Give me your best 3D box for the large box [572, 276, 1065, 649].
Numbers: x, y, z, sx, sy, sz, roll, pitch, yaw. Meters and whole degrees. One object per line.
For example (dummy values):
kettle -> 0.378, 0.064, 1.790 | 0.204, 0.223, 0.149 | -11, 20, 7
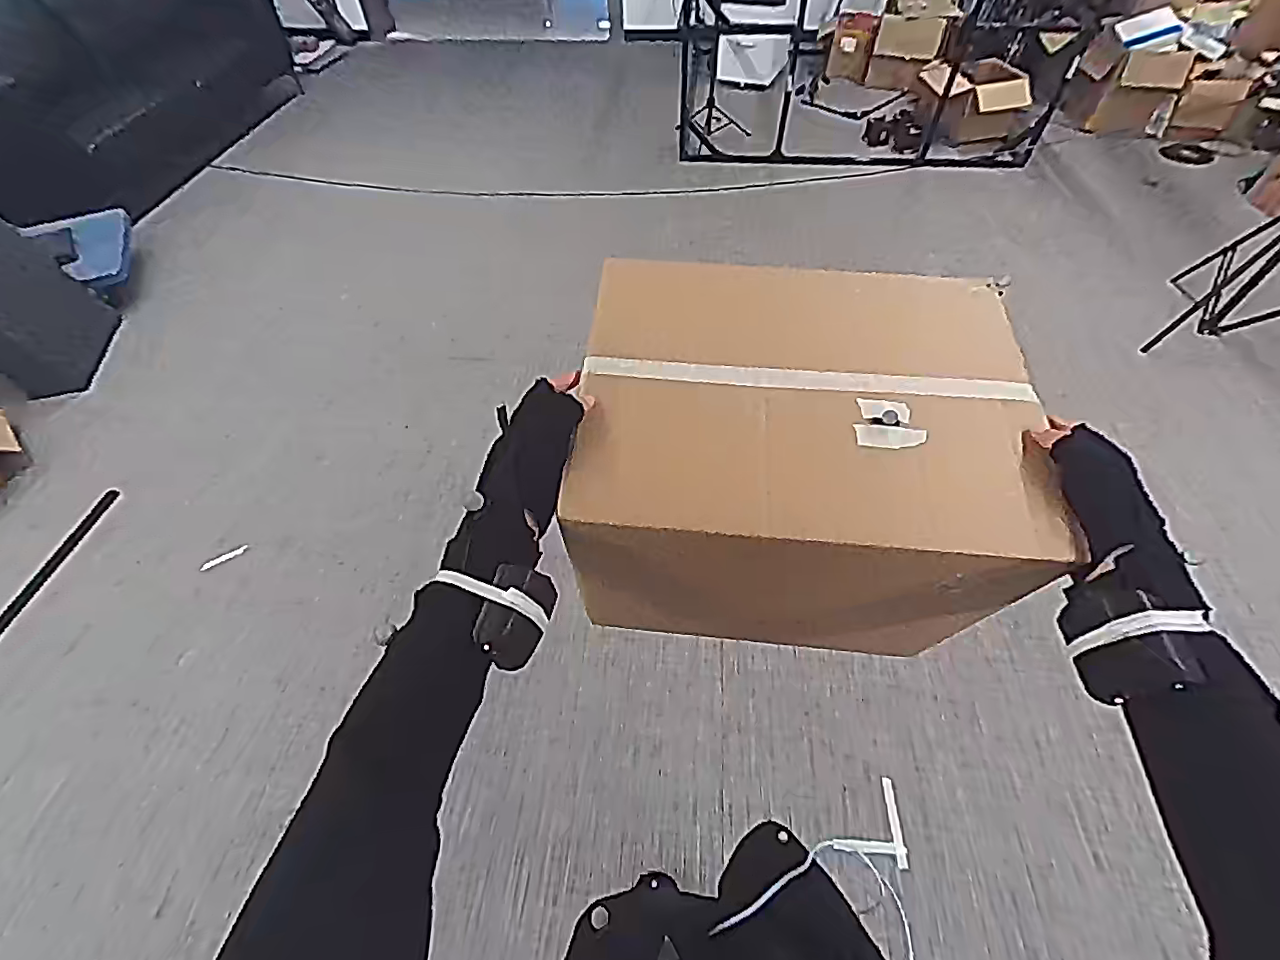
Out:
large box -> 0.152, -0.006, 0.636 | 0.408, 0.320, 0.320 | 5, 60, 3
